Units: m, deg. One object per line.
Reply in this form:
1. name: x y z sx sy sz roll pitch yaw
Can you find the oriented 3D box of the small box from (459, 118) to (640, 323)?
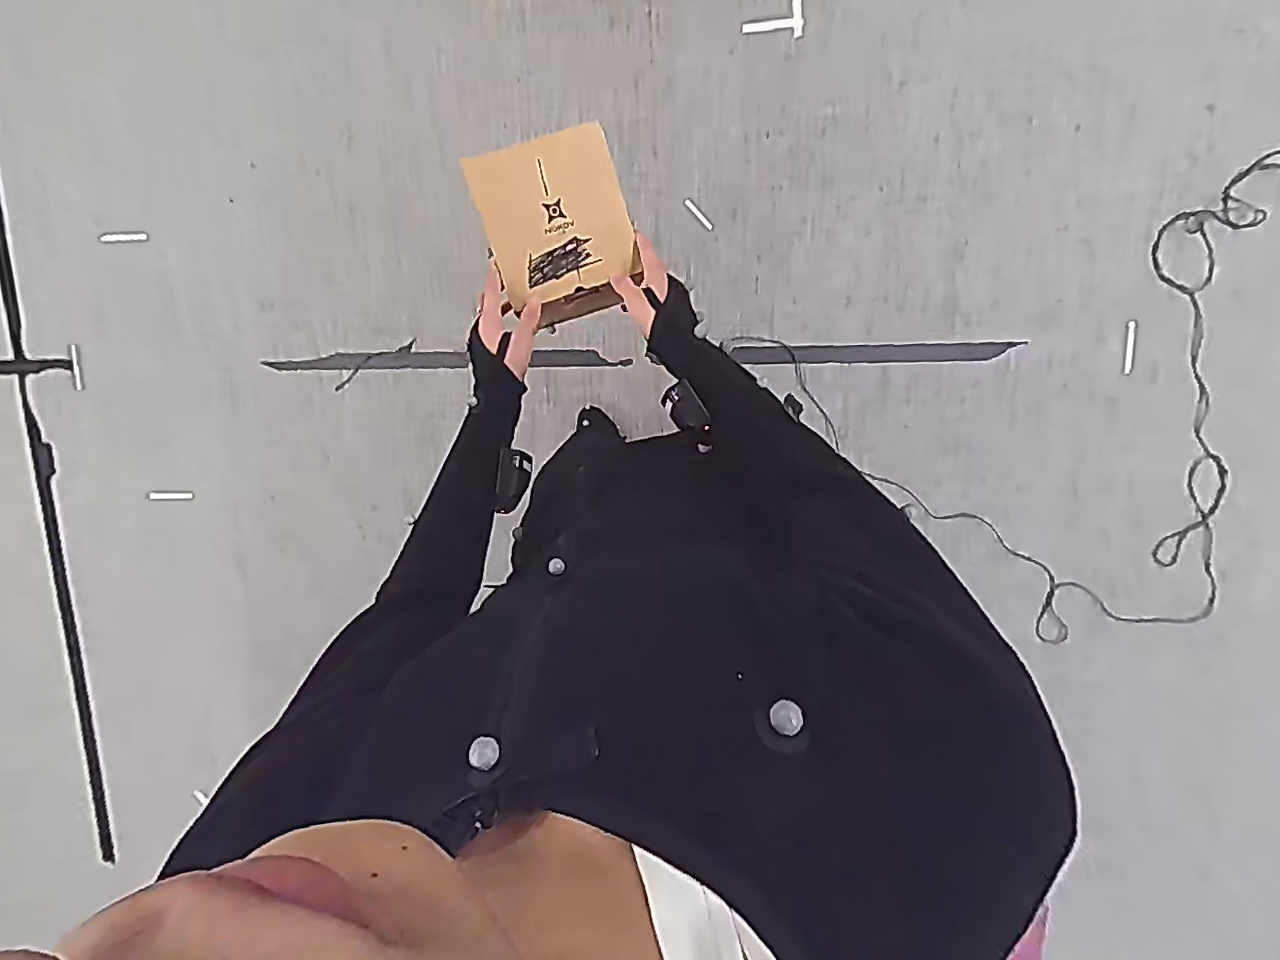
1. small box: -0.105 -0.310 0.692 0.168 0.176 0.179 -18 98 -2
